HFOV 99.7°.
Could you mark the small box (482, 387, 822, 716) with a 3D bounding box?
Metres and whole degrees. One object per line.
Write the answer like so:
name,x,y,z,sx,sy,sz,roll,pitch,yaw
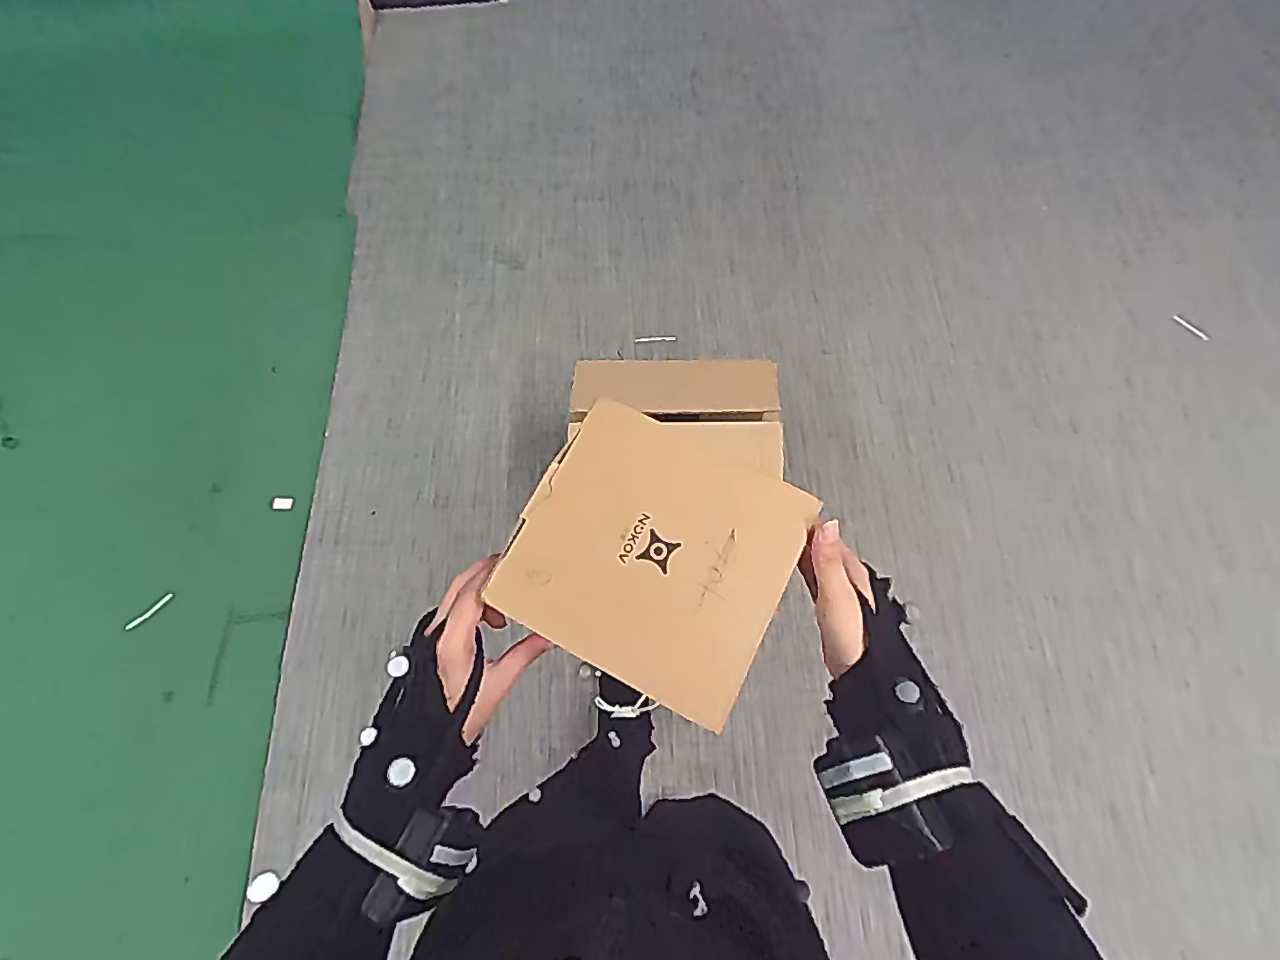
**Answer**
small box,0.010,0.061,0.432,0.179,0.176,0.168,27,76,7
